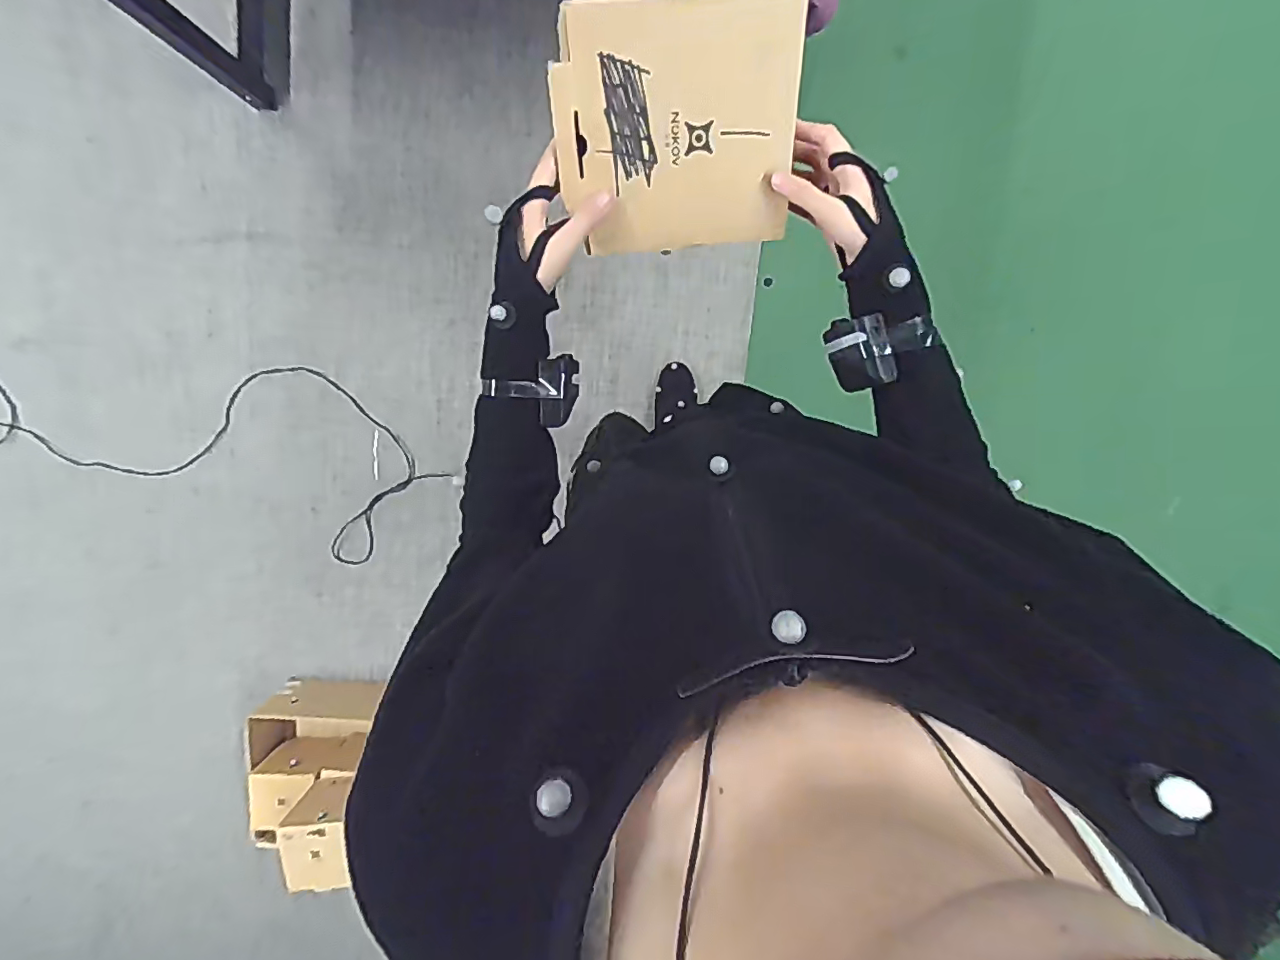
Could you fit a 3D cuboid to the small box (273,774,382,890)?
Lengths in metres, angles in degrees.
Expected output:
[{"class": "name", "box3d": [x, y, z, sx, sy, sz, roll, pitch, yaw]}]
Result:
[{"class": "small box", "box3d": [-0.768, 0.873, 1.350, 0.168, 0.176, 0.179, -5, 99, 0]}]
